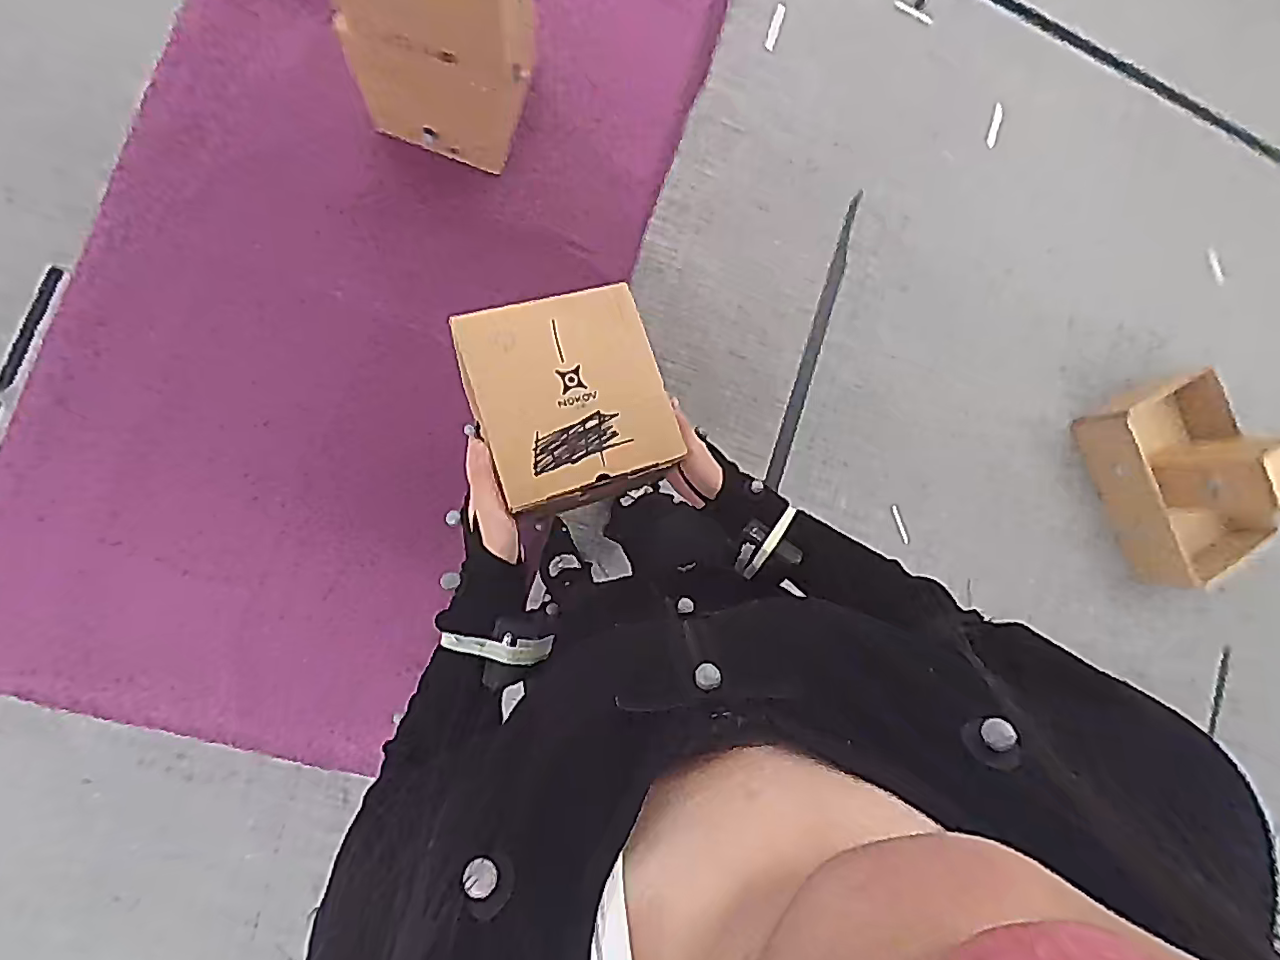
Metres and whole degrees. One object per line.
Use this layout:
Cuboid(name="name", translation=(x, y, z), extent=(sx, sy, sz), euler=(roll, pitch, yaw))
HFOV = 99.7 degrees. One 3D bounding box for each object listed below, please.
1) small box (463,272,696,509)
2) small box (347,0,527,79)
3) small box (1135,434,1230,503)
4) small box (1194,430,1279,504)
Cuboid(name="small box", translation=(-0.067, -0.075, 0.543), extent=(0.168, 0.176, 0.179), euler=(-17, 84, -16))
Cuboid(name="small box", translation=(-0.189, -0.531, 0.494), extent=(0.168, 0.176, 0.179), euler=(13, 87, -10))
Cuboid(name="small box", translation=(1.765, -0.037, 1.740), extent=(0.179, 0.176, 0.168), euler=(-24, 93, -11))
Cuboid(name="small box", translation=(1.799, -0.040, 1.582), extent=(0.179, 0.176, 0.168), euler=(-25, 93, -10))
